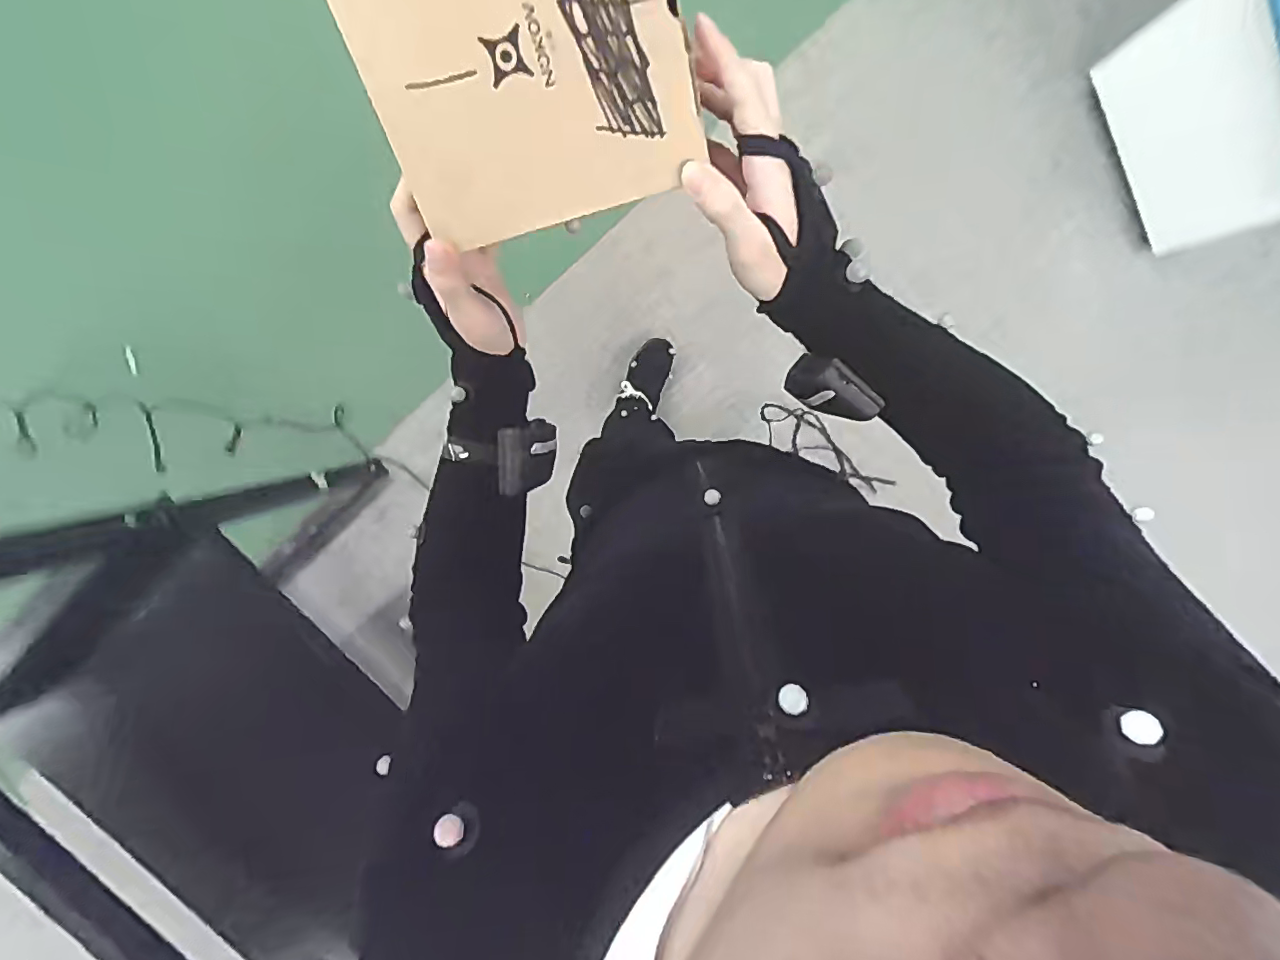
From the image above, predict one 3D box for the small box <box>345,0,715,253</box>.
[{"bbox_3d":[-0.059,-0.270,0.359,0.179,0.176,0.168,-12,121,7],"label":"small box"}]
